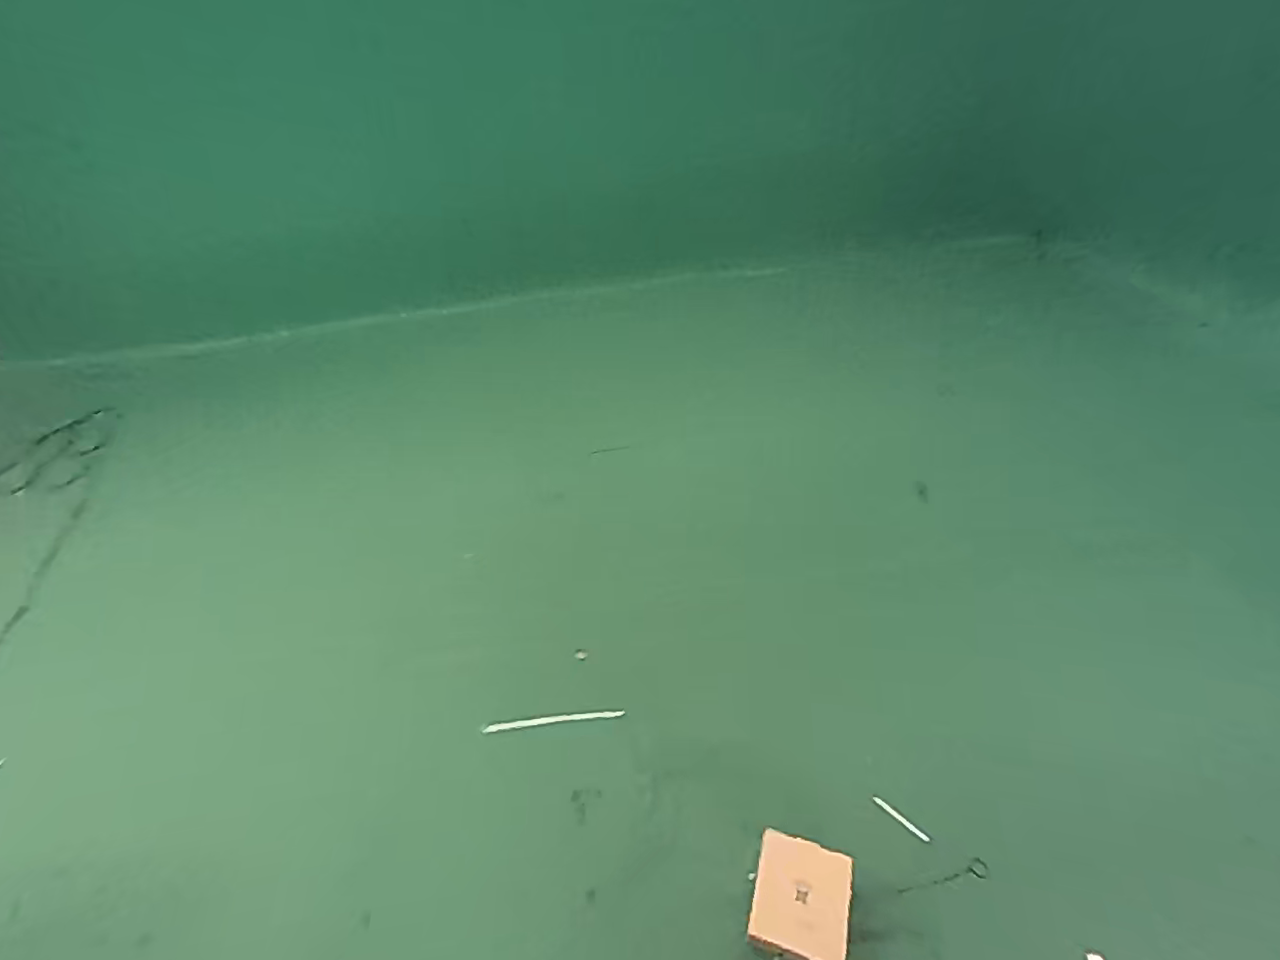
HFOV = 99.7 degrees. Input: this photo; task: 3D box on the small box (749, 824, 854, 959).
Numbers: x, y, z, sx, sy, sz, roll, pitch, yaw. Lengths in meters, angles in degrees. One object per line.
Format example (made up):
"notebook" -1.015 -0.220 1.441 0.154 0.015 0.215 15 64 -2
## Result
"small box" 0.312 0.818 1.060 0.168 0.176 0.179 10 48 19
